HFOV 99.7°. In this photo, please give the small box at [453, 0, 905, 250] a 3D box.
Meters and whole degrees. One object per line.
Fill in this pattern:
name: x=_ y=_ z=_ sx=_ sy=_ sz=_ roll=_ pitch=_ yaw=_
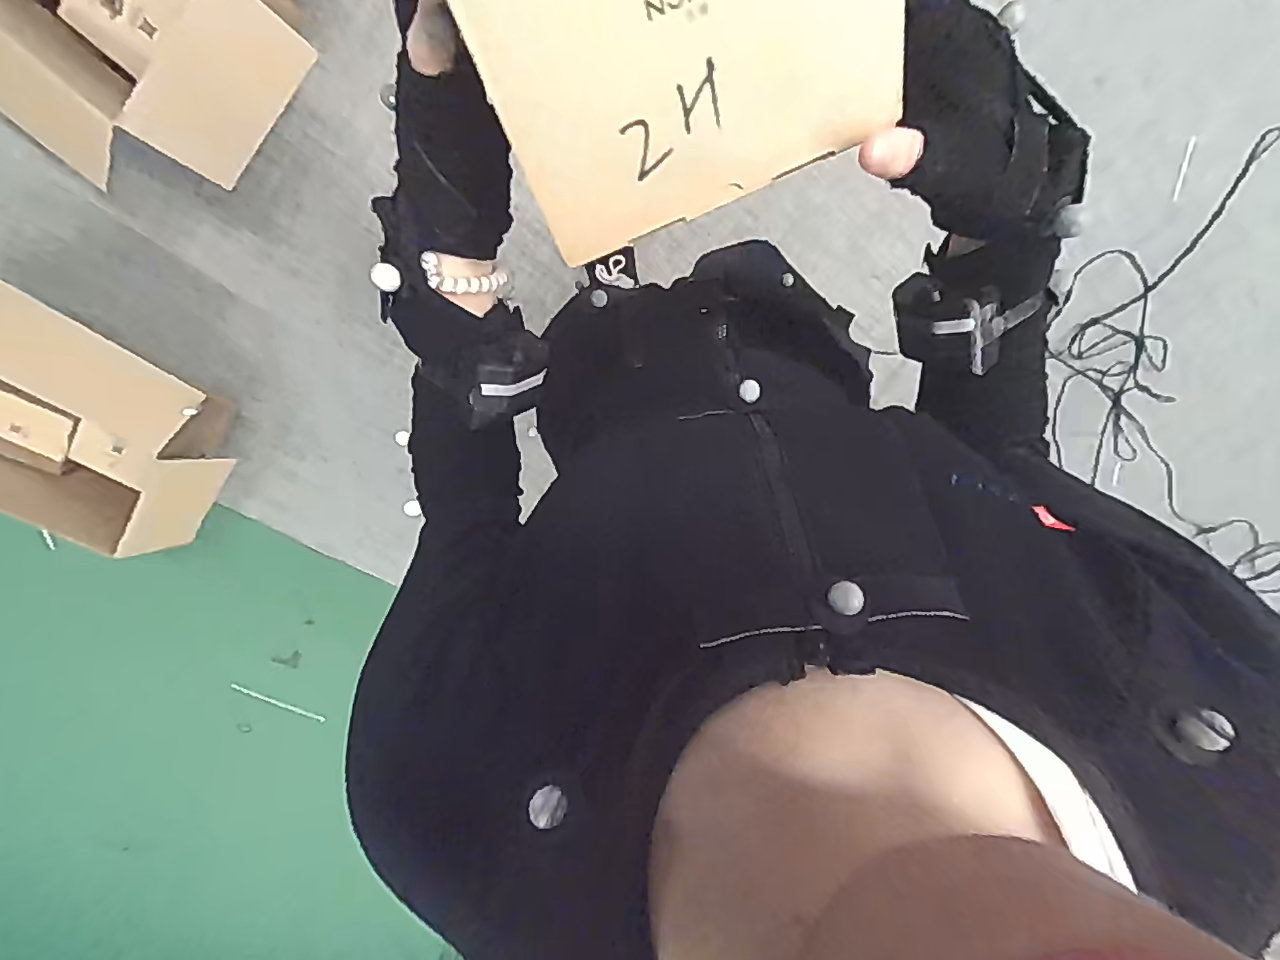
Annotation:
small box: x=-0.003 y=-0.242 z=0.245 sx=0.168 sy=0.176 sz=0.179 roll=-21 pitch=133 yaw=5
